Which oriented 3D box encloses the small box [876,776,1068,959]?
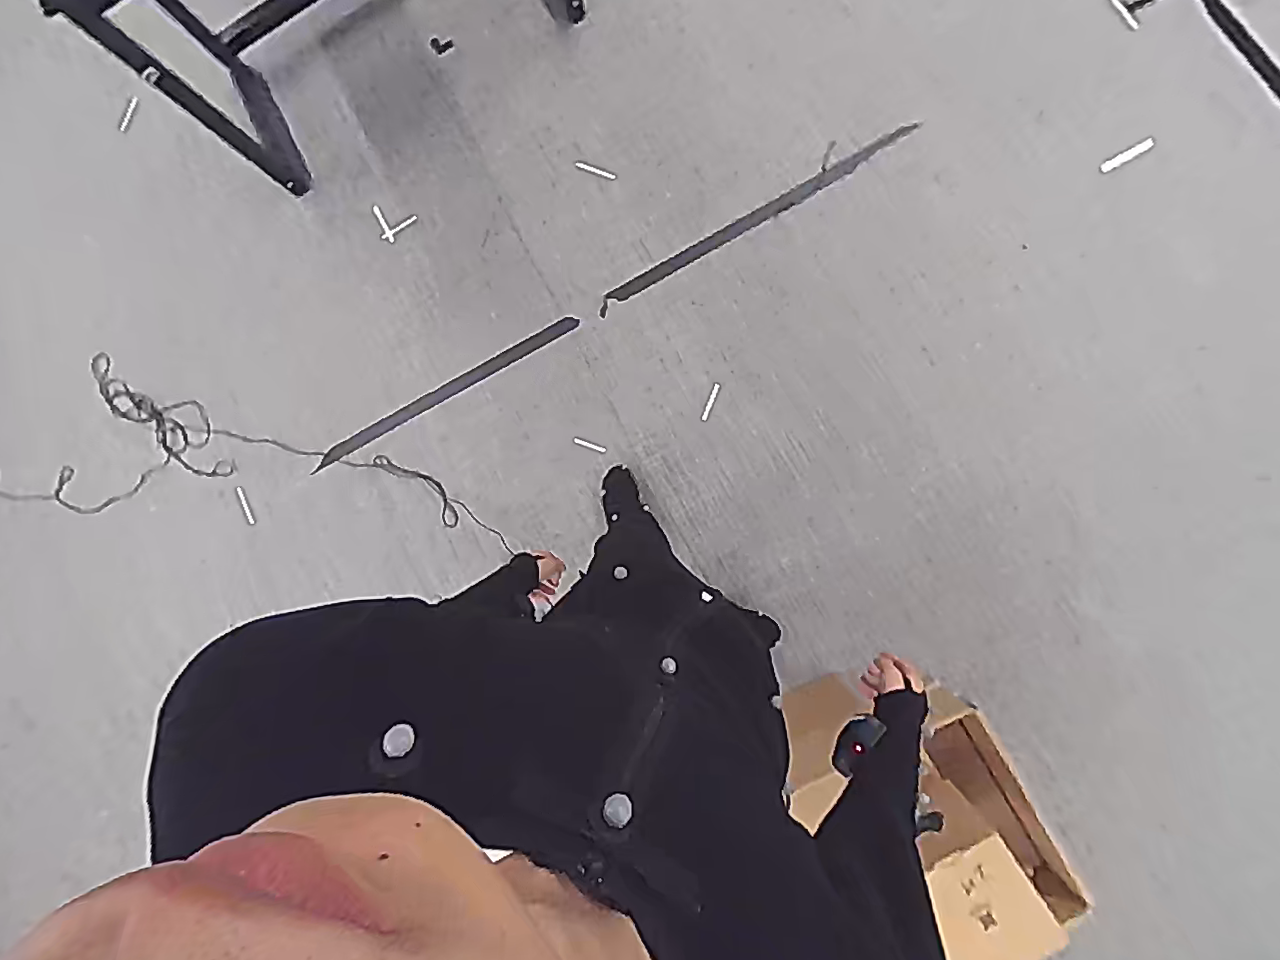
[{"bbox_3d":[0.521,0.630,0.879,0.168,0.176,0.179,-33,83,4],"label":"small box"}]

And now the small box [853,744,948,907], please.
[{"bbox_3d":[0.536,0.652,1.041,0.179,0.176,0.168,-35,83,3],"label":"small box"}]
